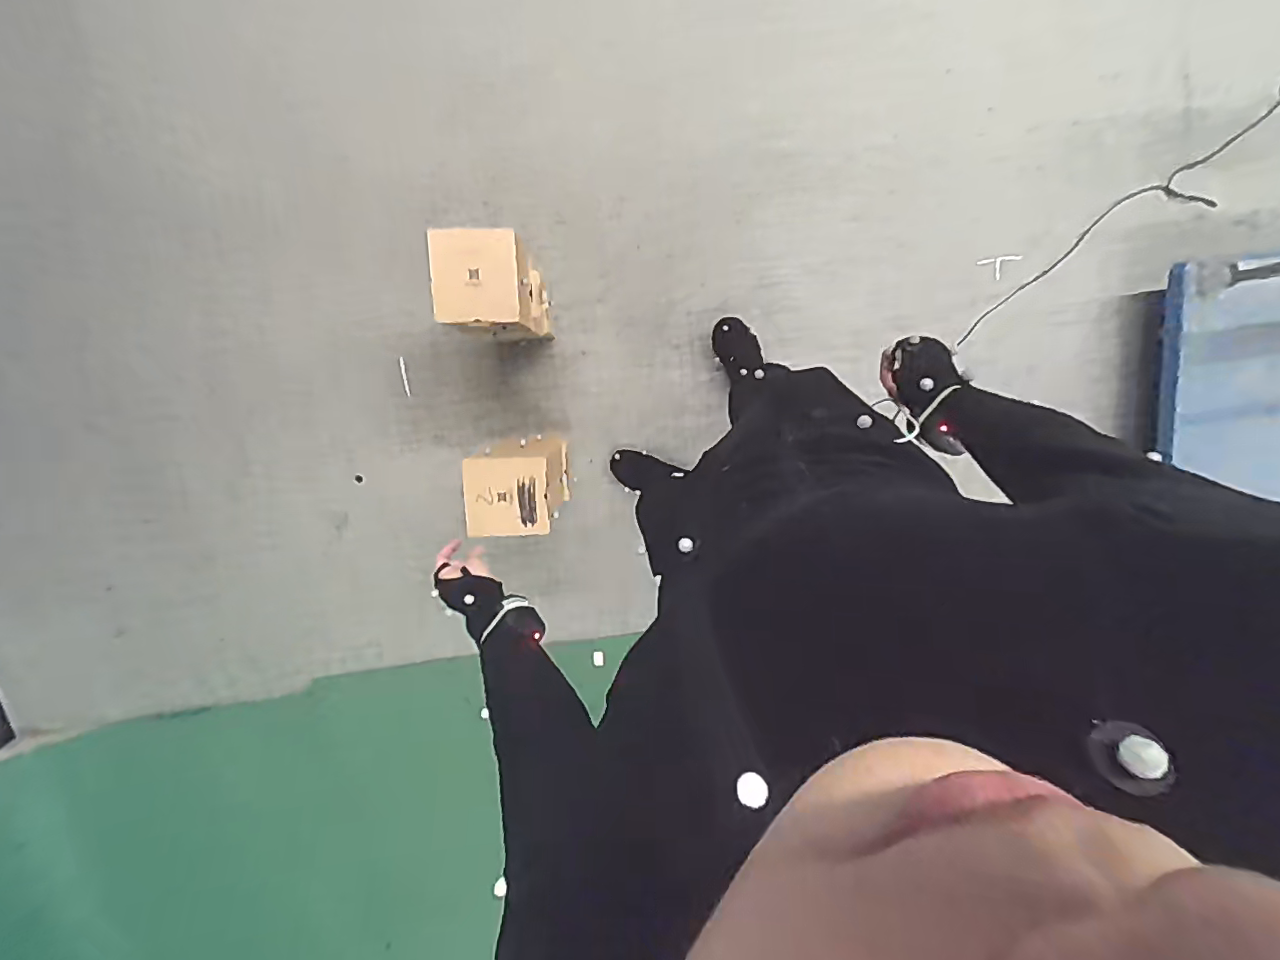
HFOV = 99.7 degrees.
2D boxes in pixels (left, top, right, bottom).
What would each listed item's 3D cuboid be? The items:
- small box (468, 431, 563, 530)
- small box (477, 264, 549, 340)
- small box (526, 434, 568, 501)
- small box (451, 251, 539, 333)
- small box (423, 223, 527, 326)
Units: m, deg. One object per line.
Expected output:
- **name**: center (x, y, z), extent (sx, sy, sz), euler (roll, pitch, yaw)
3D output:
- **small box**: center (-0.303, -0.006, 1.360), extent (0.168, 0.176, 0.179), euler (29, 98, -10)
- **small box**: center (-0.337, -0.465, 1.427), extent (0.179, 0.176, 0.168), euler (-5, 100, -3)
- **small box**: center (-0.294, -0.039, 1.512), extent (0.179, 0.176, 0.168), euler (-2, 101, -2)
- **small box**: center (-0.337, -0.434, 1.266), extent (0.179, 0.176, 0.168), euler (-1, 102, -3)
- **small box**: center (-0.327, -0.410, 1.104), extent (0.168, 0.176, 0.179), euler (-1, 101, -4)
